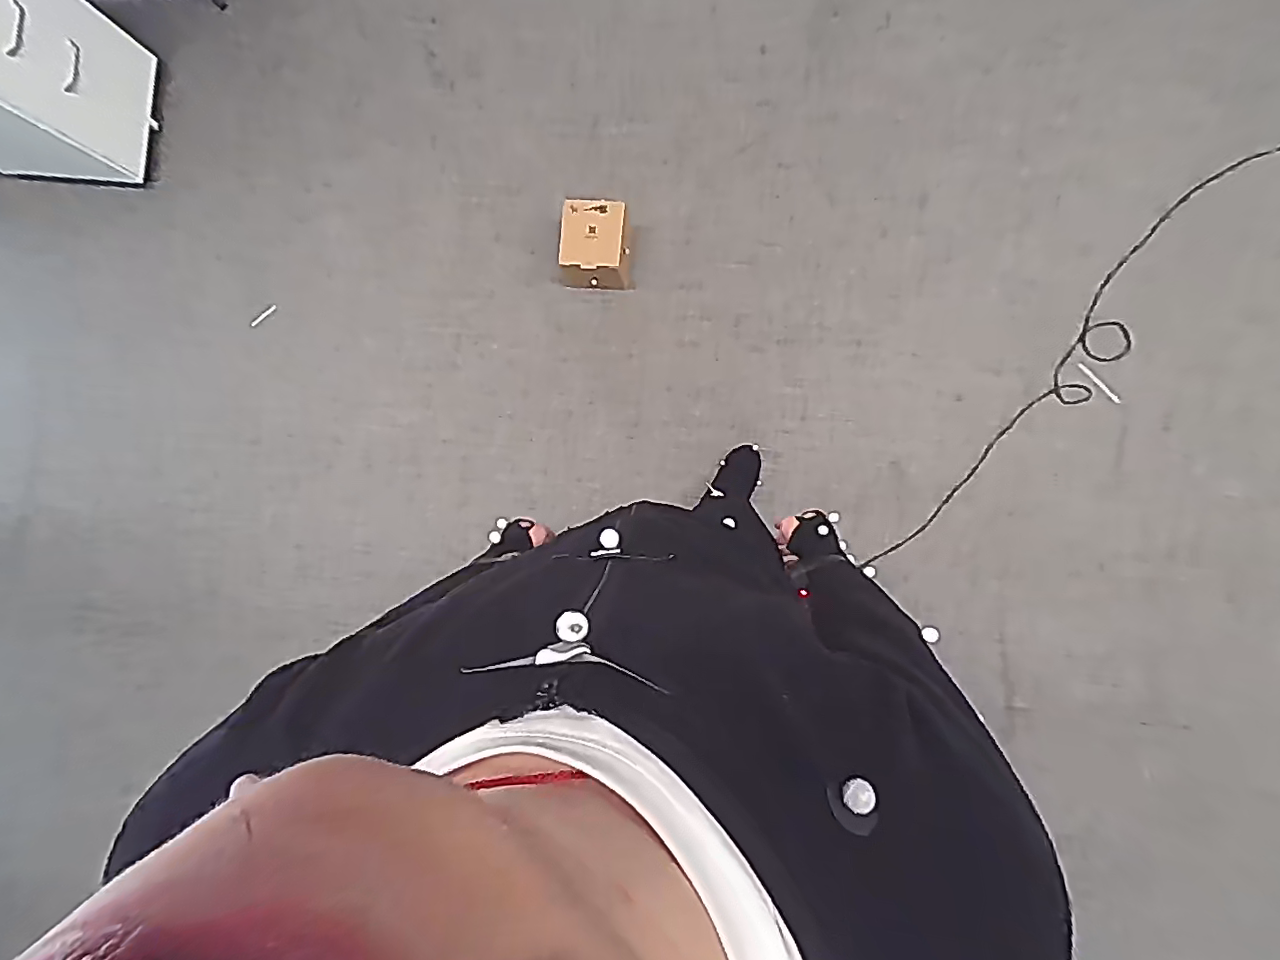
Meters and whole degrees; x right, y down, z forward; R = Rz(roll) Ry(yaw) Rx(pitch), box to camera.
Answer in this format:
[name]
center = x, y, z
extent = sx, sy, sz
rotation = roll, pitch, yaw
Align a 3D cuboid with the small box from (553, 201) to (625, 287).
[small box]
center = -0.137, -0.653, 1.512
extent = 0.168, 0.176, 0.179
rotation = 3, 90, 7
